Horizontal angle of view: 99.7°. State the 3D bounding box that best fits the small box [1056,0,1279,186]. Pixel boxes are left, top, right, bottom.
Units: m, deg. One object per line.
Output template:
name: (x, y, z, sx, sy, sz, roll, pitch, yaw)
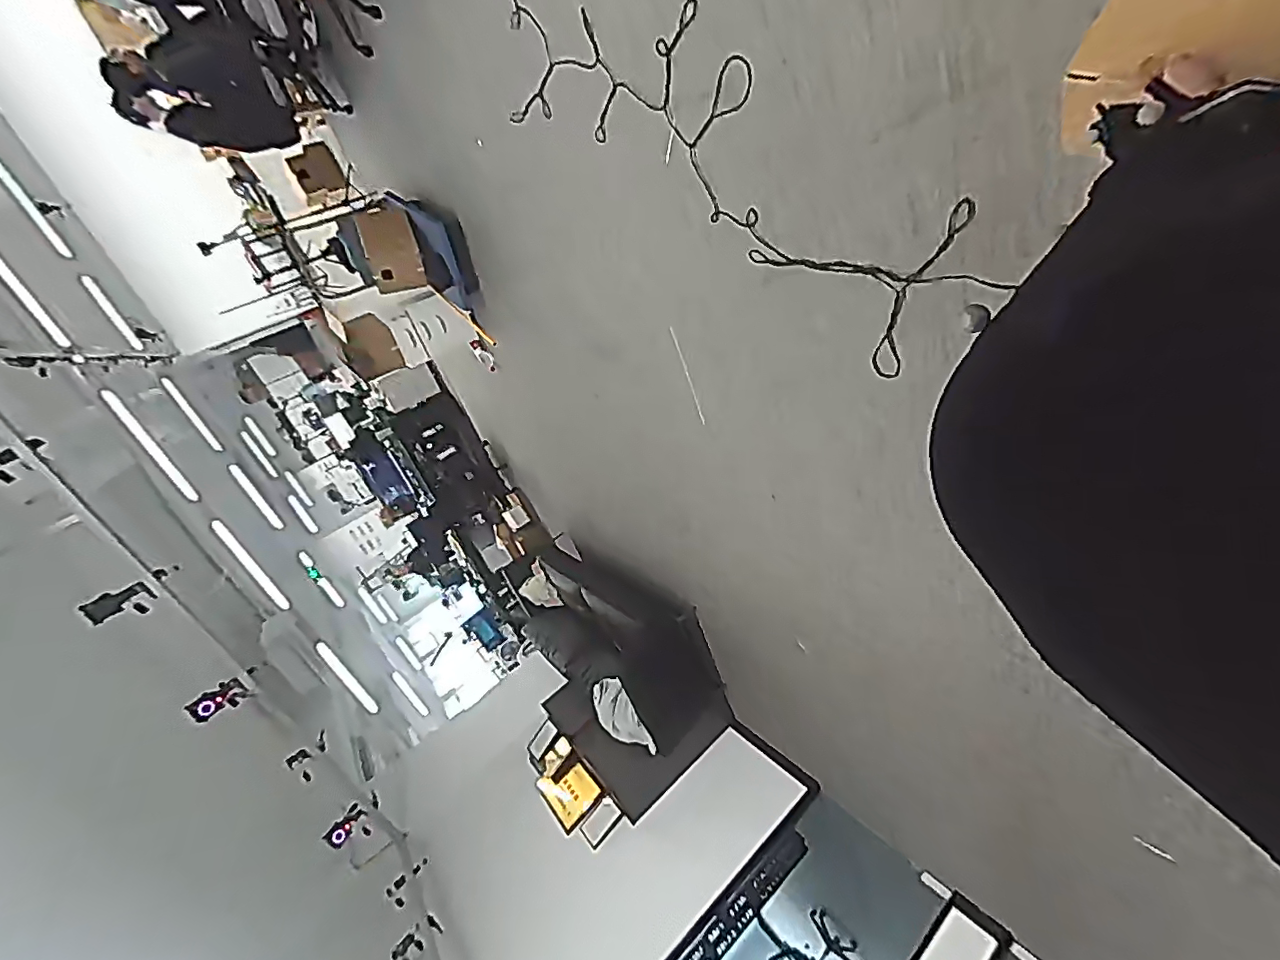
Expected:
small box: (0.552, -0.427, 0.530, 0.168, 0.179, 0.176, 37, 112, 30)
